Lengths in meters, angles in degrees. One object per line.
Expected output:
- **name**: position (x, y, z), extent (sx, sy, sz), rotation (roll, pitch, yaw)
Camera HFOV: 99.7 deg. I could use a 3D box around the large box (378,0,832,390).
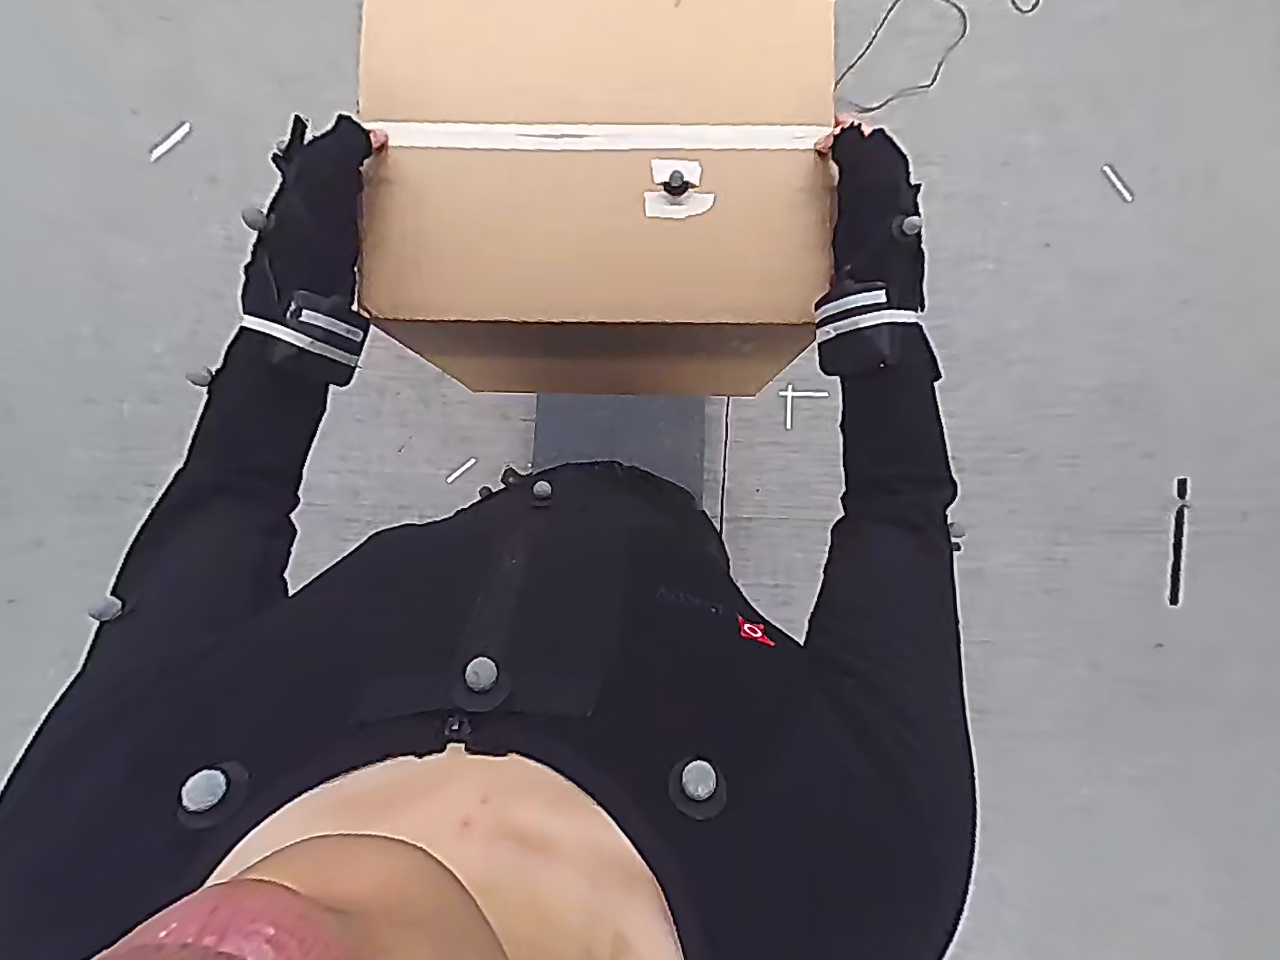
- **large box**: position (-0.033, -0.290, 0.627), extent (0.408, 0.320, 0.320), rotation (1, 88, 0)
